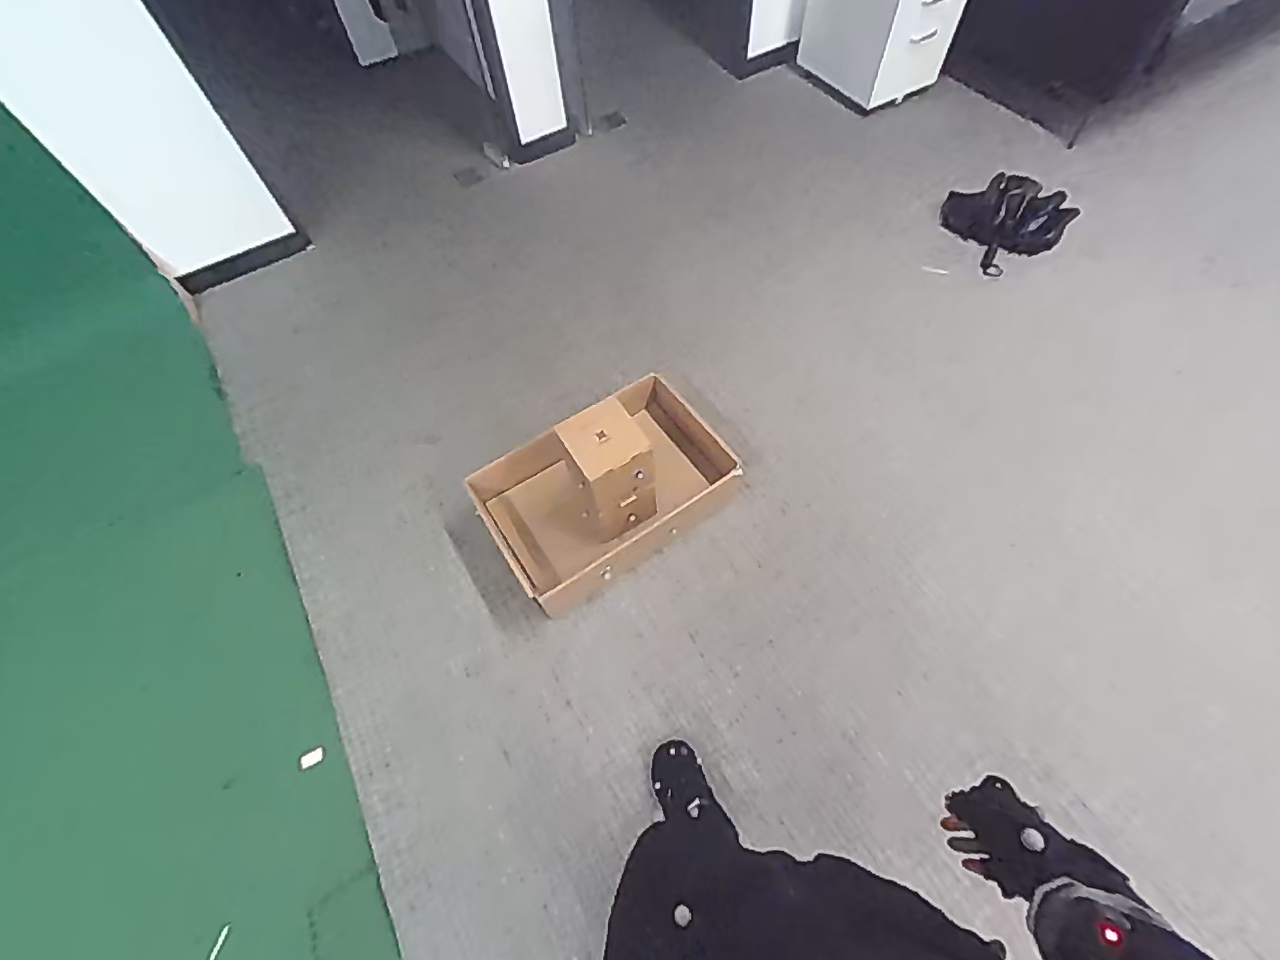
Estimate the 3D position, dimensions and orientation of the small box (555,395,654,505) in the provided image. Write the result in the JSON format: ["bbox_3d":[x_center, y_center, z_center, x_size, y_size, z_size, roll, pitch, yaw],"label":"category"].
[{"bbox_3d":[-0.076,-0.061,1.282,0.168,0.176,0.179,-30,63,-13],"label":"small box"}]

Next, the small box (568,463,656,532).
[{"bbox_3d":[-0.066,0.018,1.424,0.168,0.176,0.179,-29,64,-12],"label":"small box"}]
